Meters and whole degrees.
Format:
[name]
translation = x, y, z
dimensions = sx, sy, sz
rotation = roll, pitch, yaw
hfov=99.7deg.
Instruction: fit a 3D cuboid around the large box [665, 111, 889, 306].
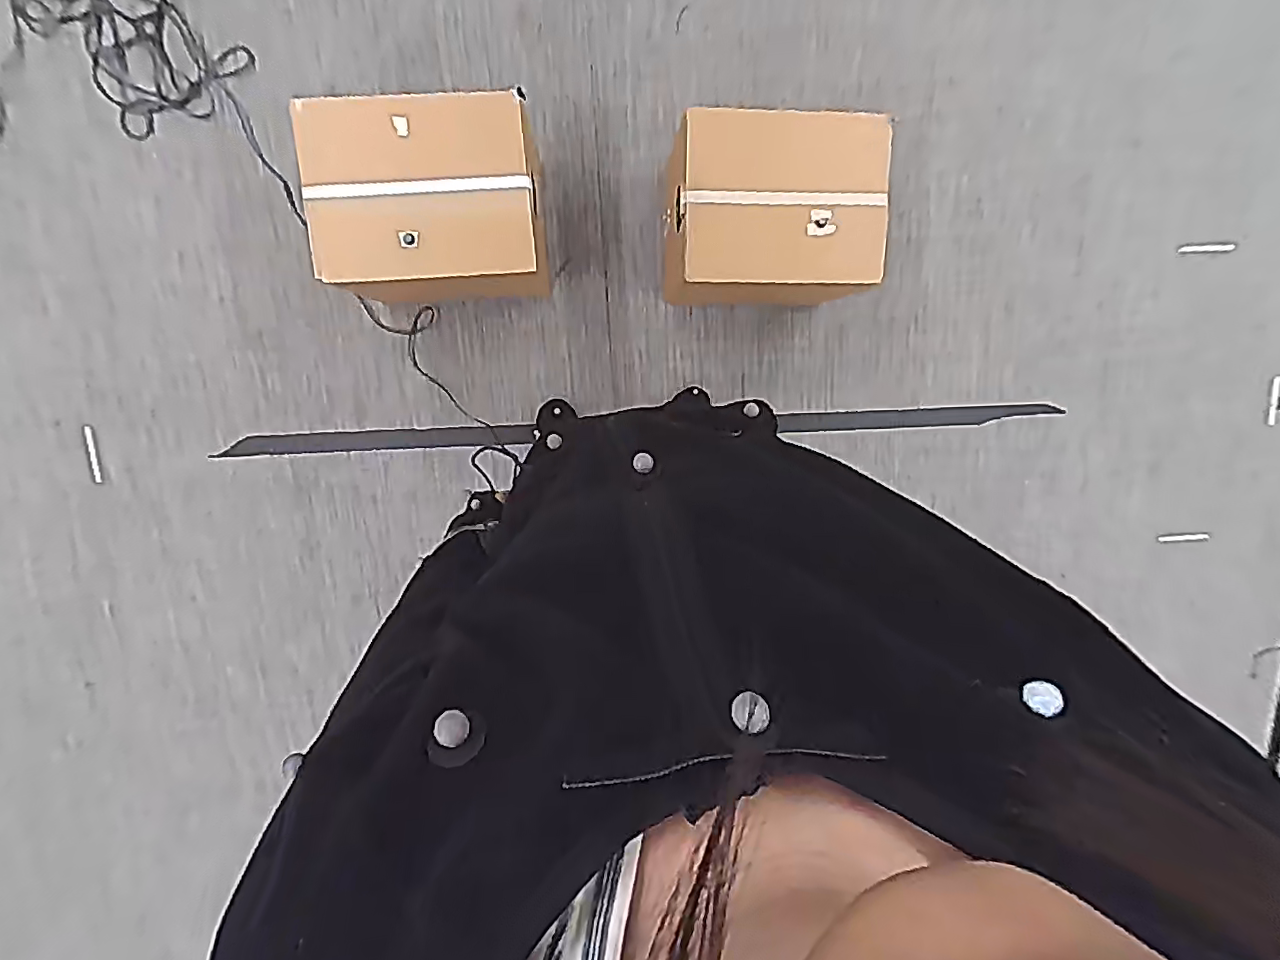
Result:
[large box]
translation = 0.275, -0.573, 1.204
dimensions = 0.408, 0.320, 0.320
rotation = -1, 100, -5
